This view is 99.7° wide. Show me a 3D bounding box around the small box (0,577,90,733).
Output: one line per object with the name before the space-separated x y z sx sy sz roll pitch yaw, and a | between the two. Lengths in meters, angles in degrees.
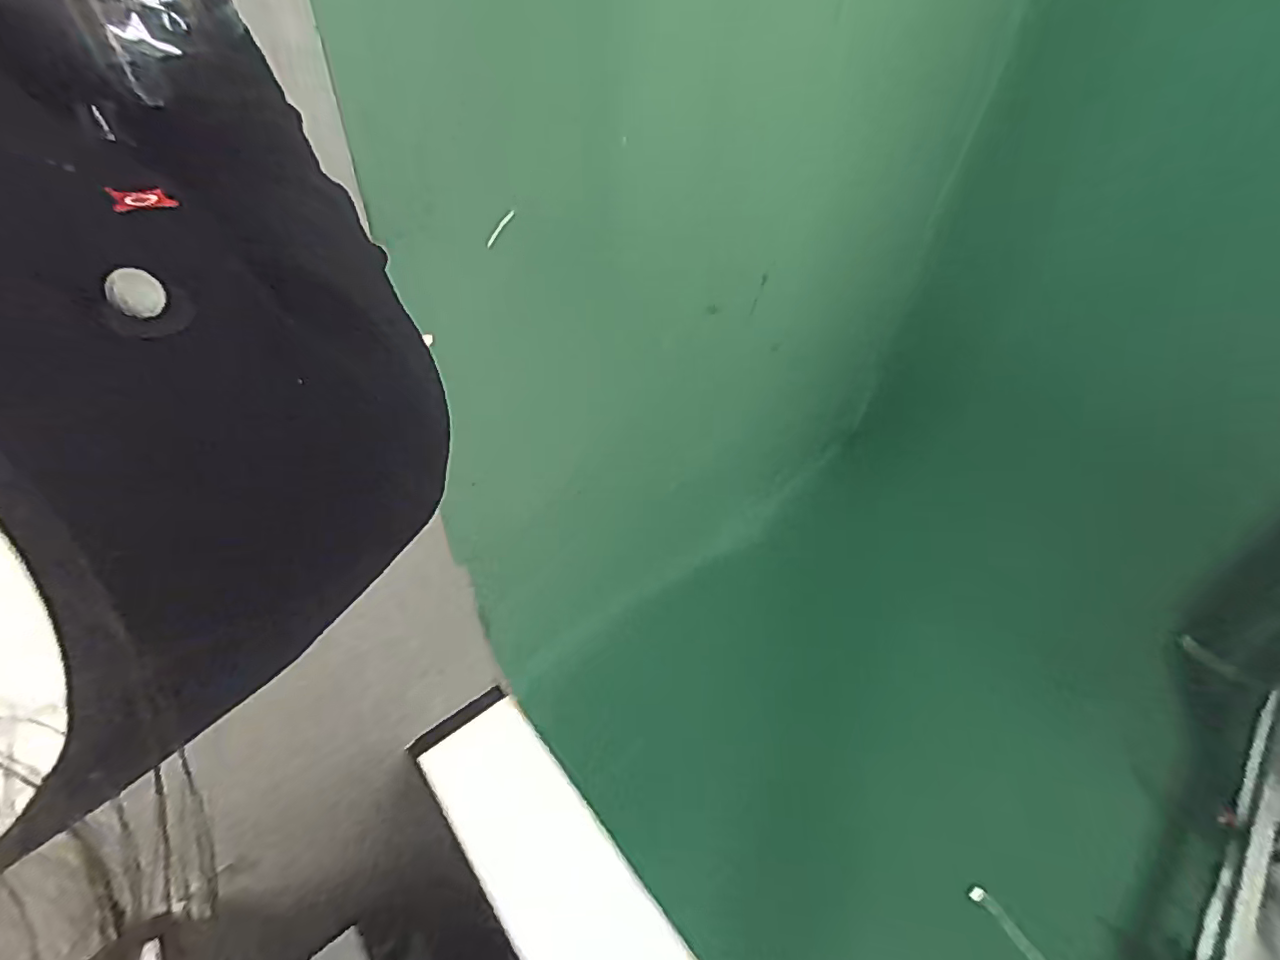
small box | -1.070 0.294 0.886 0.179 0.176 0.168 -30 139 -27
